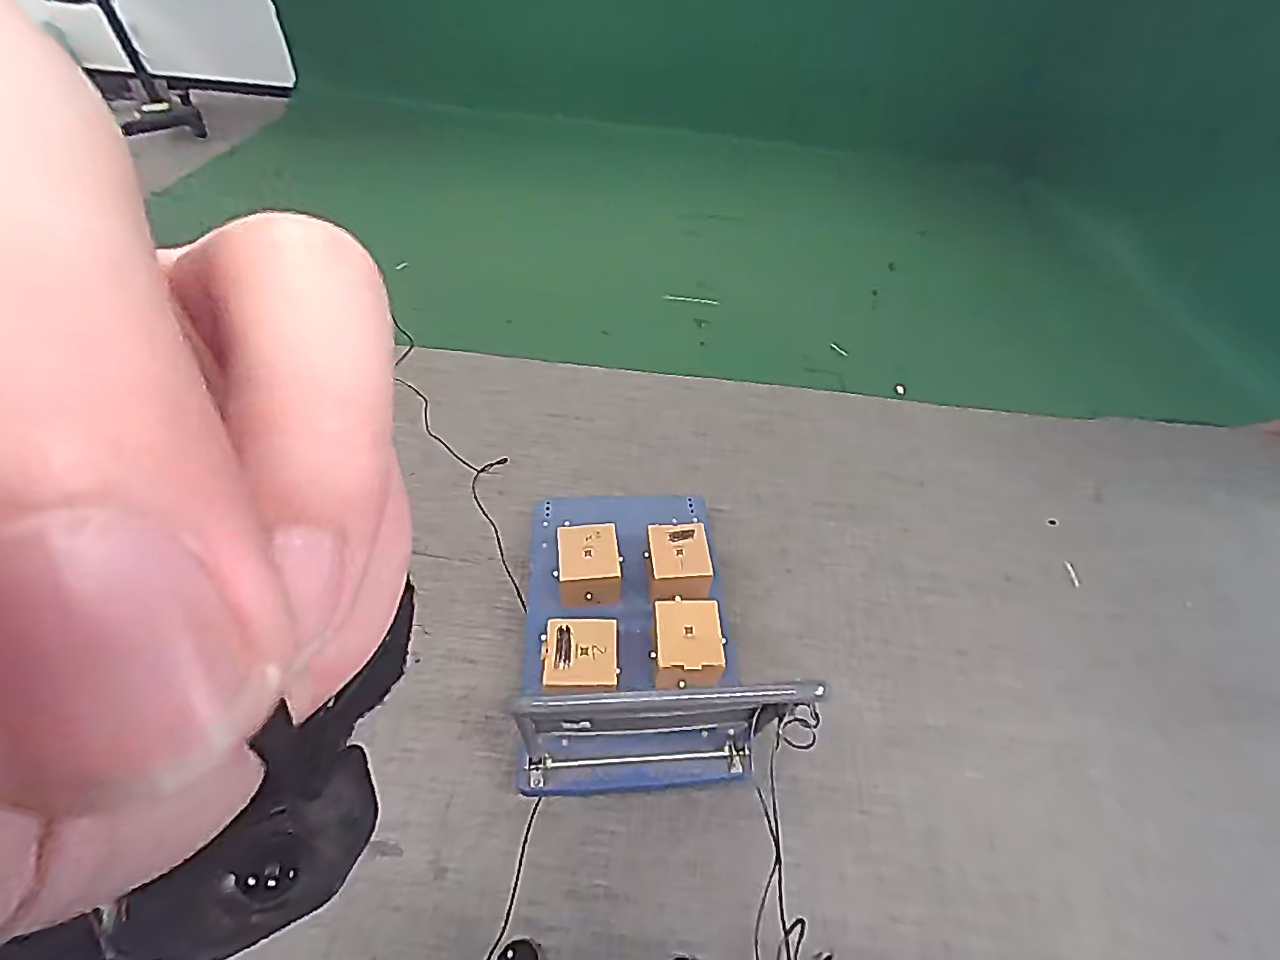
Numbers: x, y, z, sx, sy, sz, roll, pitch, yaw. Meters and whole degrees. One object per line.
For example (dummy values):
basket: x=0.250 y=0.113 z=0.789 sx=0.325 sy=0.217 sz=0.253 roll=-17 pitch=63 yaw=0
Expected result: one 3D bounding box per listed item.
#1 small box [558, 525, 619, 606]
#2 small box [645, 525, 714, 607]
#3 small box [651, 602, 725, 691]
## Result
small box: x=-0.148 y=0.252 z=1.551 sx=0.168 sy=0.176 sz=0.179 roll=-3 pitch=51 yaw=-8
small box: x=0.107 y=0.249 z=1.572 sx=0.168 sy=0.176 sz=0.179 roll=-3 pitch=52 yaw=-6
small box: x=0.119 y=0.438 z=1.421 sx=0.168 sy=0.176 sz=0.179 roll=1 pitch=51 yaw=-4
